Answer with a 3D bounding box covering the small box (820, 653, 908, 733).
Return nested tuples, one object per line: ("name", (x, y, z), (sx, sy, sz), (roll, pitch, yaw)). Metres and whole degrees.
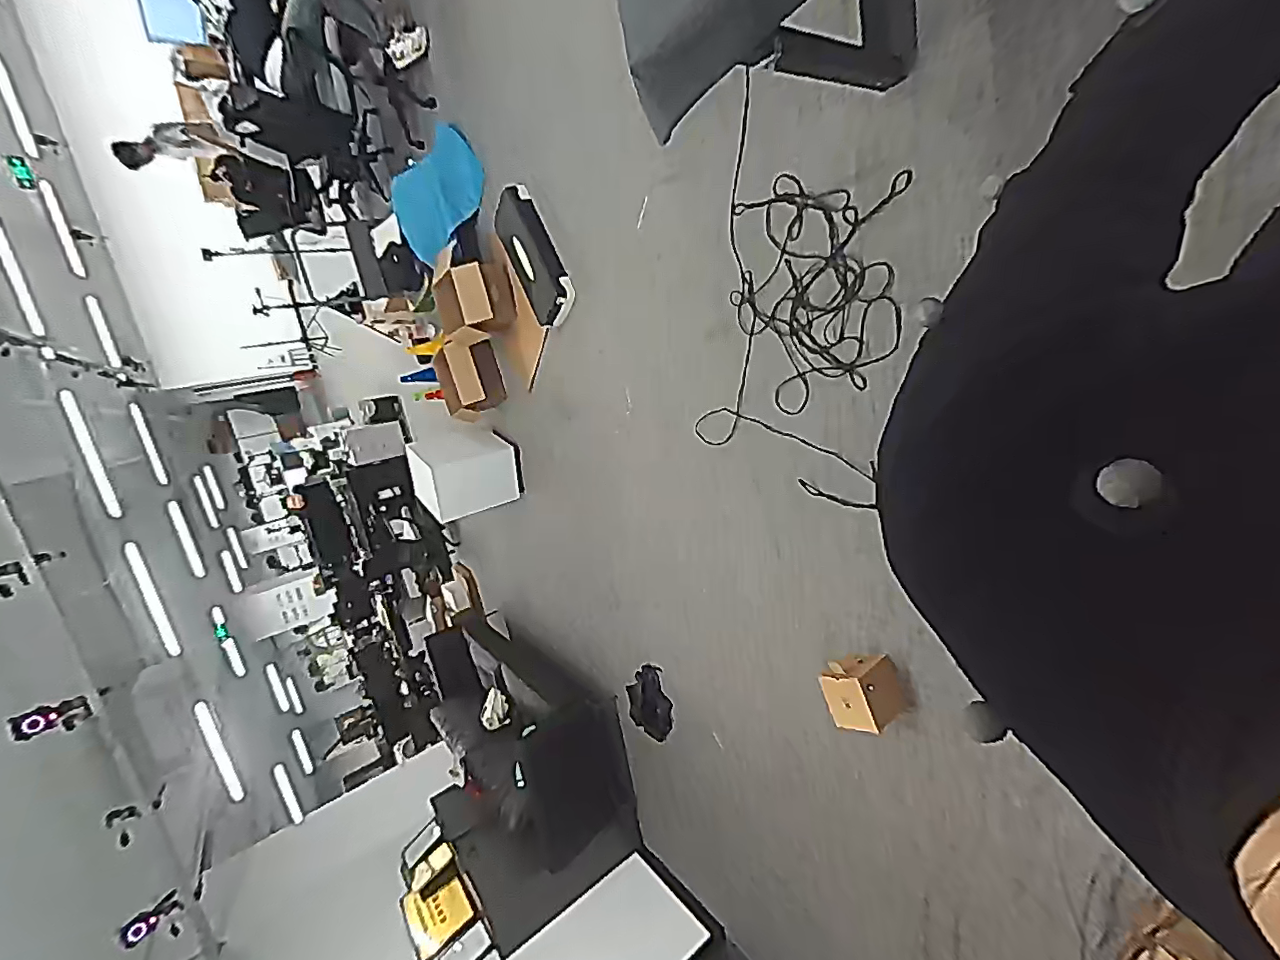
("small box", (0.721, 0.676, 1.732), (0.168, 0.176, 0.179), (-26, 83, 57))
